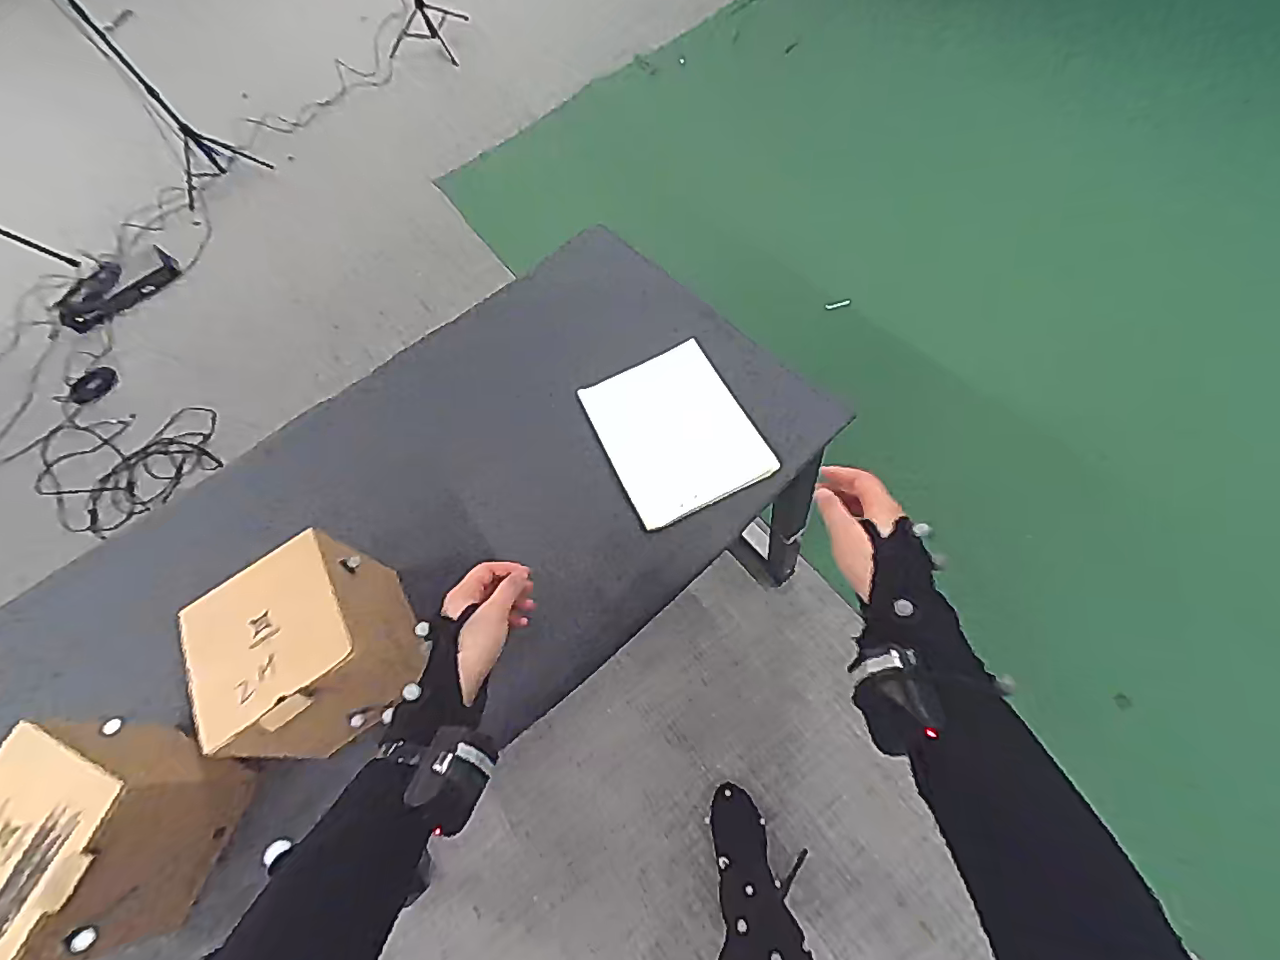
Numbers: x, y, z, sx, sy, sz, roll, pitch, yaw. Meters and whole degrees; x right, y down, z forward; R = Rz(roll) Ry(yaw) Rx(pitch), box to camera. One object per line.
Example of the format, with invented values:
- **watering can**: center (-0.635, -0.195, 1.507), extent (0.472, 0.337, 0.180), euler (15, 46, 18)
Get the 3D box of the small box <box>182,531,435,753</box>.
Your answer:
- **small box**: center (-0.378, 0.197, 0.636), extent (0.168, 0.176, 0.179), euler (-35, 62, -7)
